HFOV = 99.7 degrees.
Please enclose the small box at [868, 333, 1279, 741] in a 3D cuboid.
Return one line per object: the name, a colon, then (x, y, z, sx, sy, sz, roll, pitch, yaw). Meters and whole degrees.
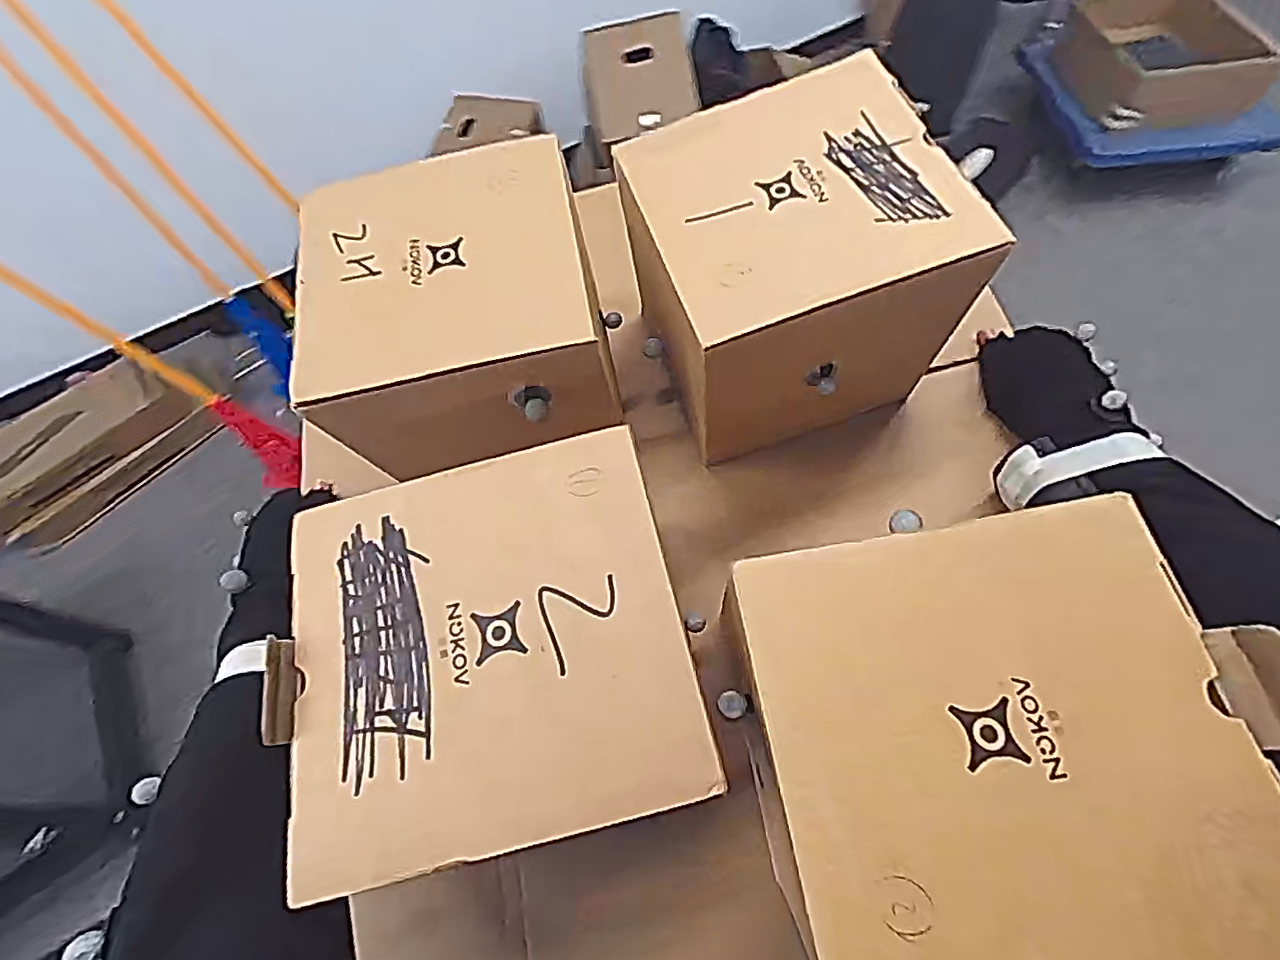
small box: (0.238, 0.034, 0.290, 0.179, 0.176, 0.168, 3, 76, 7)
